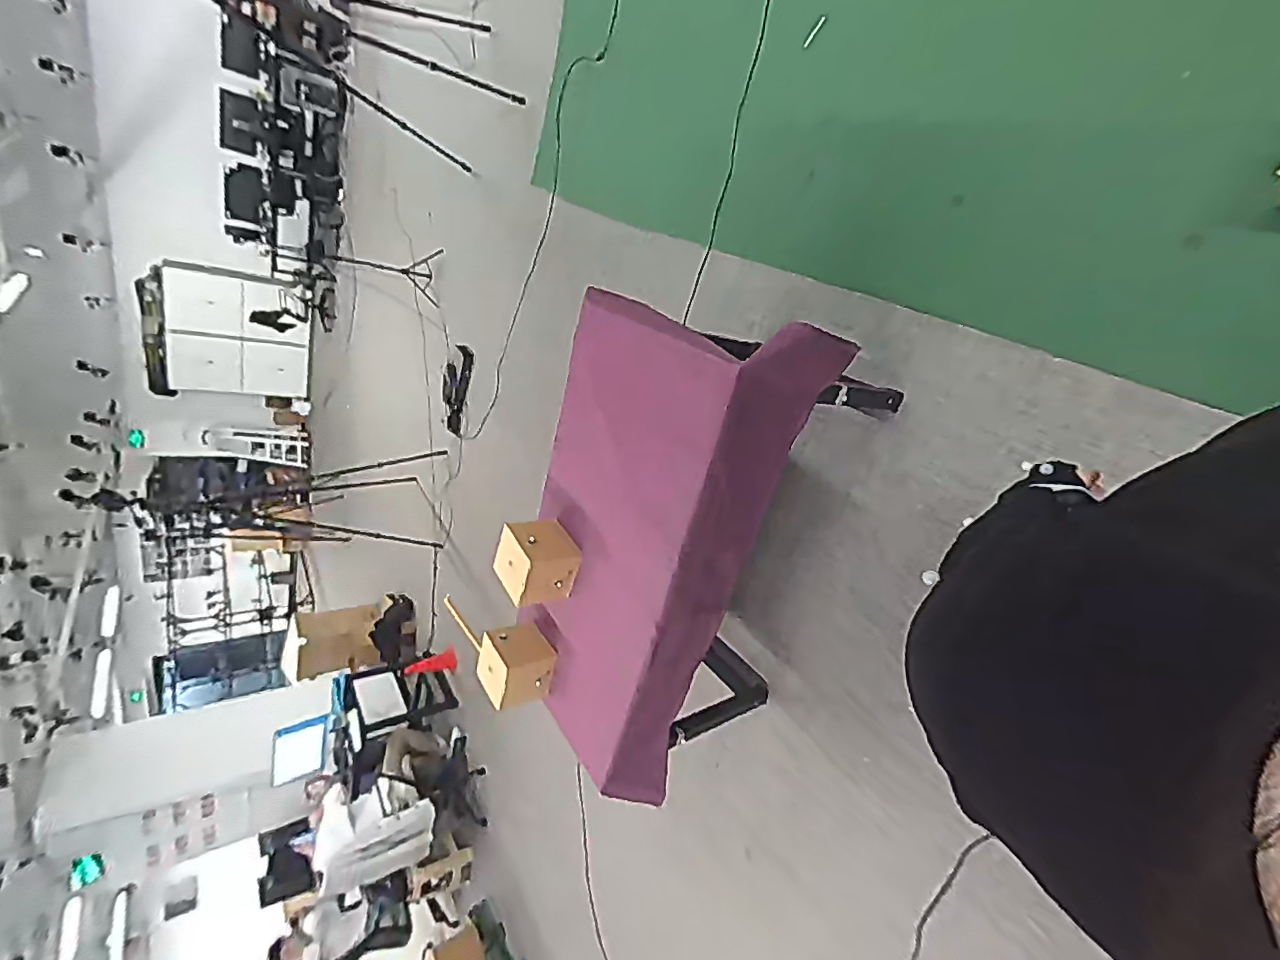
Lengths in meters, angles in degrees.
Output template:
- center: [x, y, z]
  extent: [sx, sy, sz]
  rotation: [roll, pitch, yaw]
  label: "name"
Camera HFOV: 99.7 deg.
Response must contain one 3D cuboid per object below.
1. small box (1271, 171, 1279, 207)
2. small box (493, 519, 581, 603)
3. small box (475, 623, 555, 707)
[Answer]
- center: [1.187, -0.520, 0.860]
  extent: [0.179, 0.176, 0.168]
  rotation: [45, 124, 42]
  label: "small box"
- center: [-0.296, 0.226, 1.556]
  extent: [0.179, 0.176, 0.168]
  rotation: [45, 125, 38]
  label: "small box"
- center: [-0.388, 0.562, 1.674]
  extent: [0.179, 0.176, 0.168]
  rotation: [38, 119, 43]
  label: "small box"
